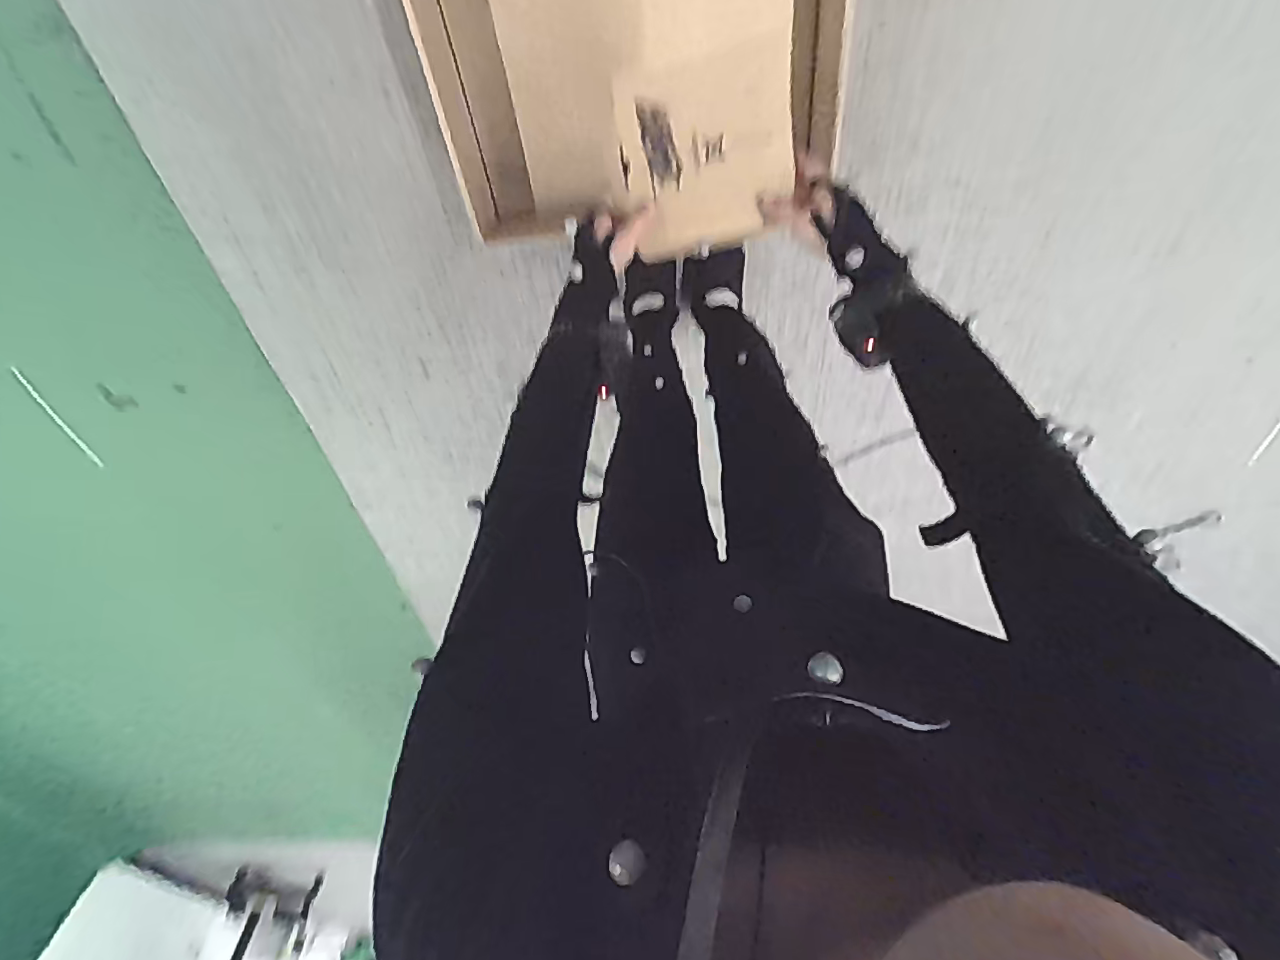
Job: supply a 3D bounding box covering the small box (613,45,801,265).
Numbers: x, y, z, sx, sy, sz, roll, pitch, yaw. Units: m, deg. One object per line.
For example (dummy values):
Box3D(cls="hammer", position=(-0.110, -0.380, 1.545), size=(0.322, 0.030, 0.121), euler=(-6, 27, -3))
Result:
Box3D(cls="small box", position=(0.079, -0.355, 0.629), size=(0.179, 0.176, 0.168), euler=(-8, 107, 9))
